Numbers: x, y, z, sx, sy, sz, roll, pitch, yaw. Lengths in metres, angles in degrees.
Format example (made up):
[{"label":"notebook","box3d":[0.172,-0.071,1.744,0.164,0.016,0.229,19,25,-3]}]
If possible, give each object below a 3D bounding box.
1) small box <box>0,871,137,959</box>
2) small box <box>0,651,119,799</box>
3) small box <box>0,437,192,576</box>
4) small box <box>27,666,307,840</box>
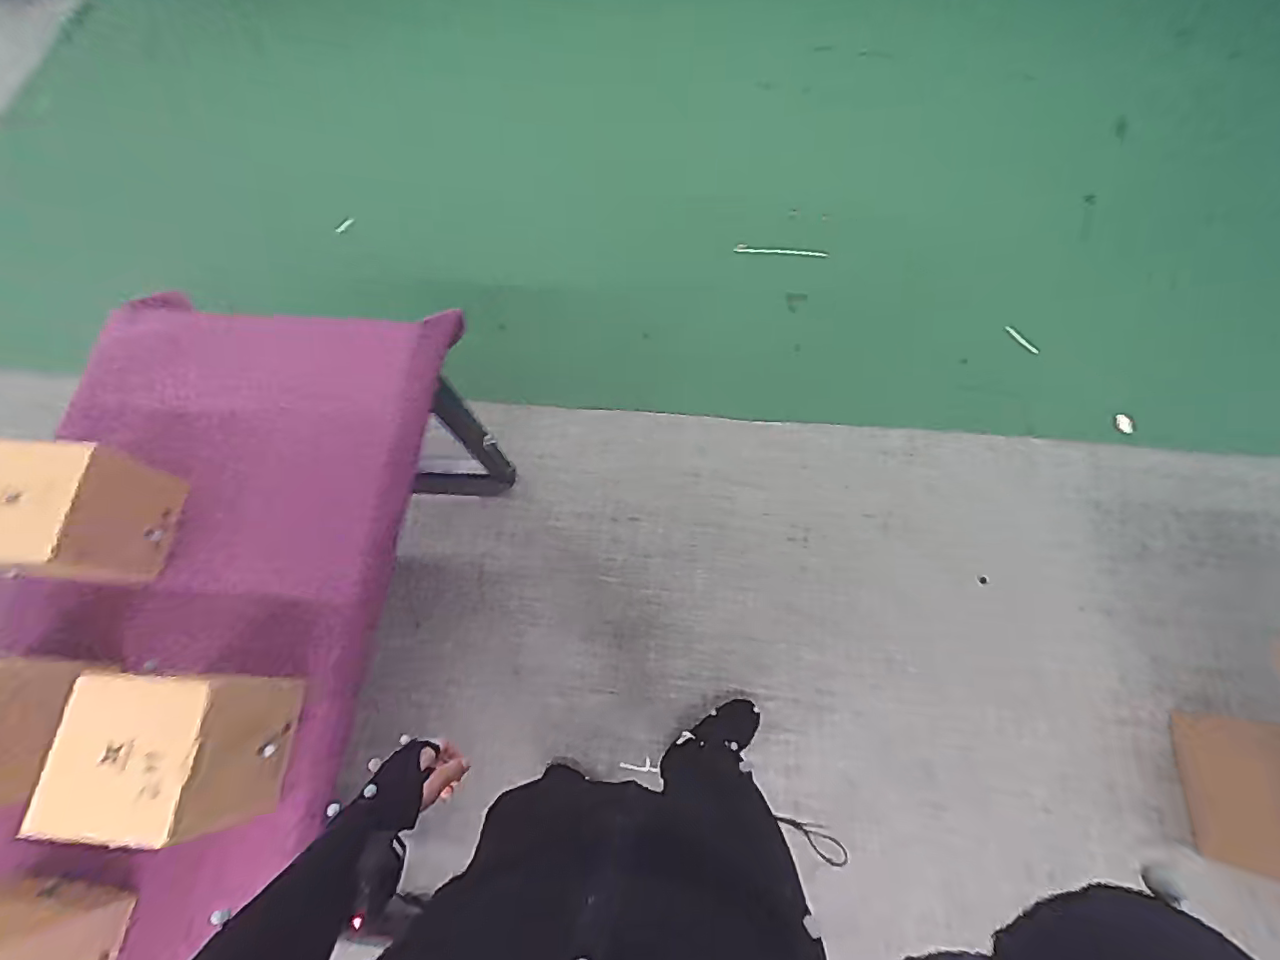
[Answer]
[{"label":"small box","box3d":[-0.745,0.571,0.607,0.179,0.176,0.168,4,73,5]},{"label":"small box","box3d":[-0.856,0.314,0.706,0.179,0.176,0.168,2,71,4]},{"label":"small box","box3d":[-0.832,0.046,0.799,0.179,0.176,0.168,2,72,3]},{"label":"small box","box3d":[-0.572,0.329,0.683,0.179,0.176,0.168,2,71,5]}]
